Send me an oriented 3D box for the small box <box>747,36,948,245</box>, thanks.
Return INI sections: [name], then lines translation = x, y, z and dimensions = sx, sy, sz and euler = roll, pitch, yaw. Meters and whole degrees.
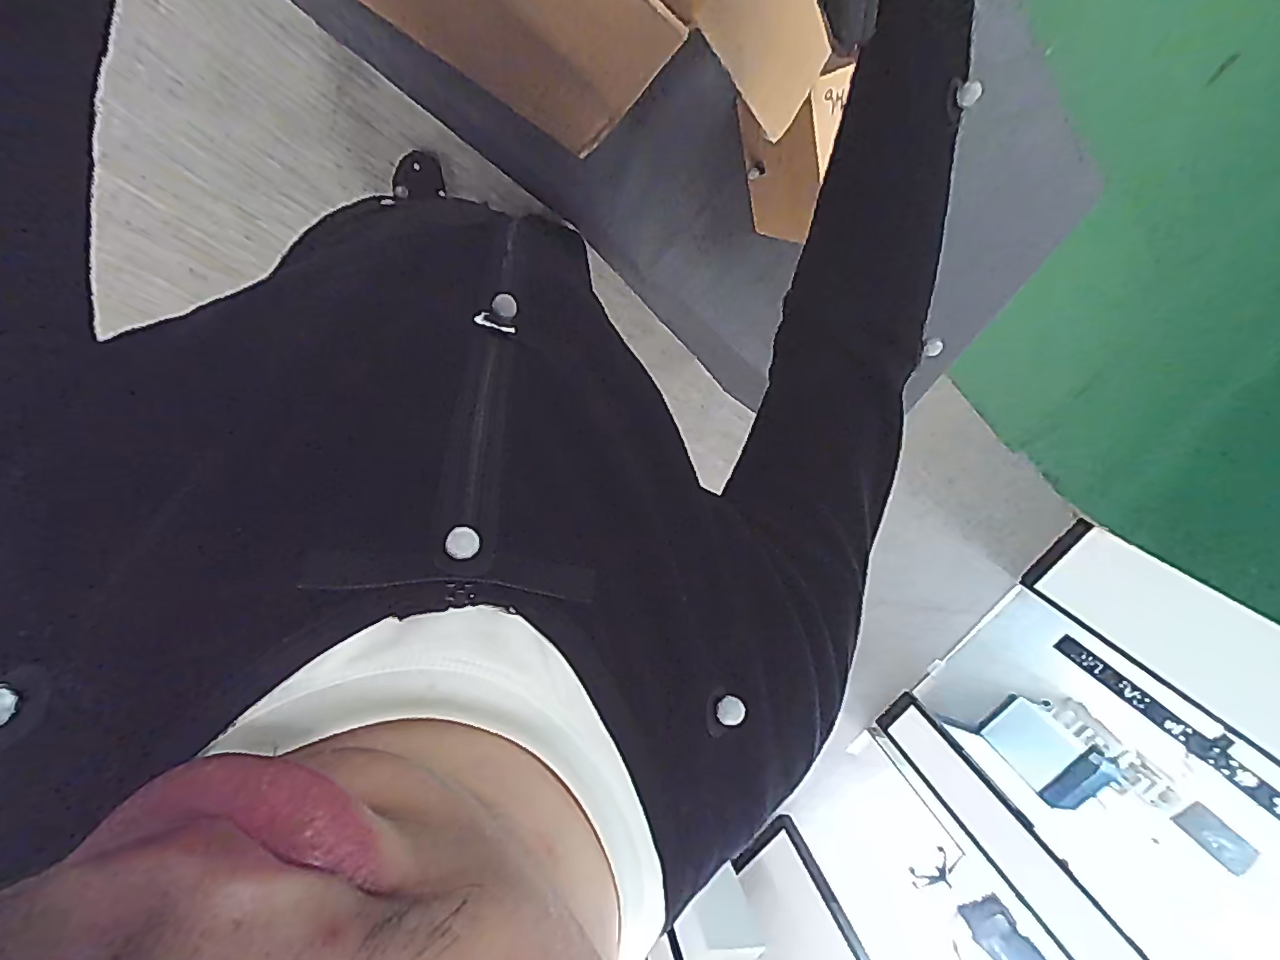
[small box]
translation = 0.254, -0.428, 0.690
dimensions = 0.168, 0.176, 0.179
euler = -22, 126, -5
